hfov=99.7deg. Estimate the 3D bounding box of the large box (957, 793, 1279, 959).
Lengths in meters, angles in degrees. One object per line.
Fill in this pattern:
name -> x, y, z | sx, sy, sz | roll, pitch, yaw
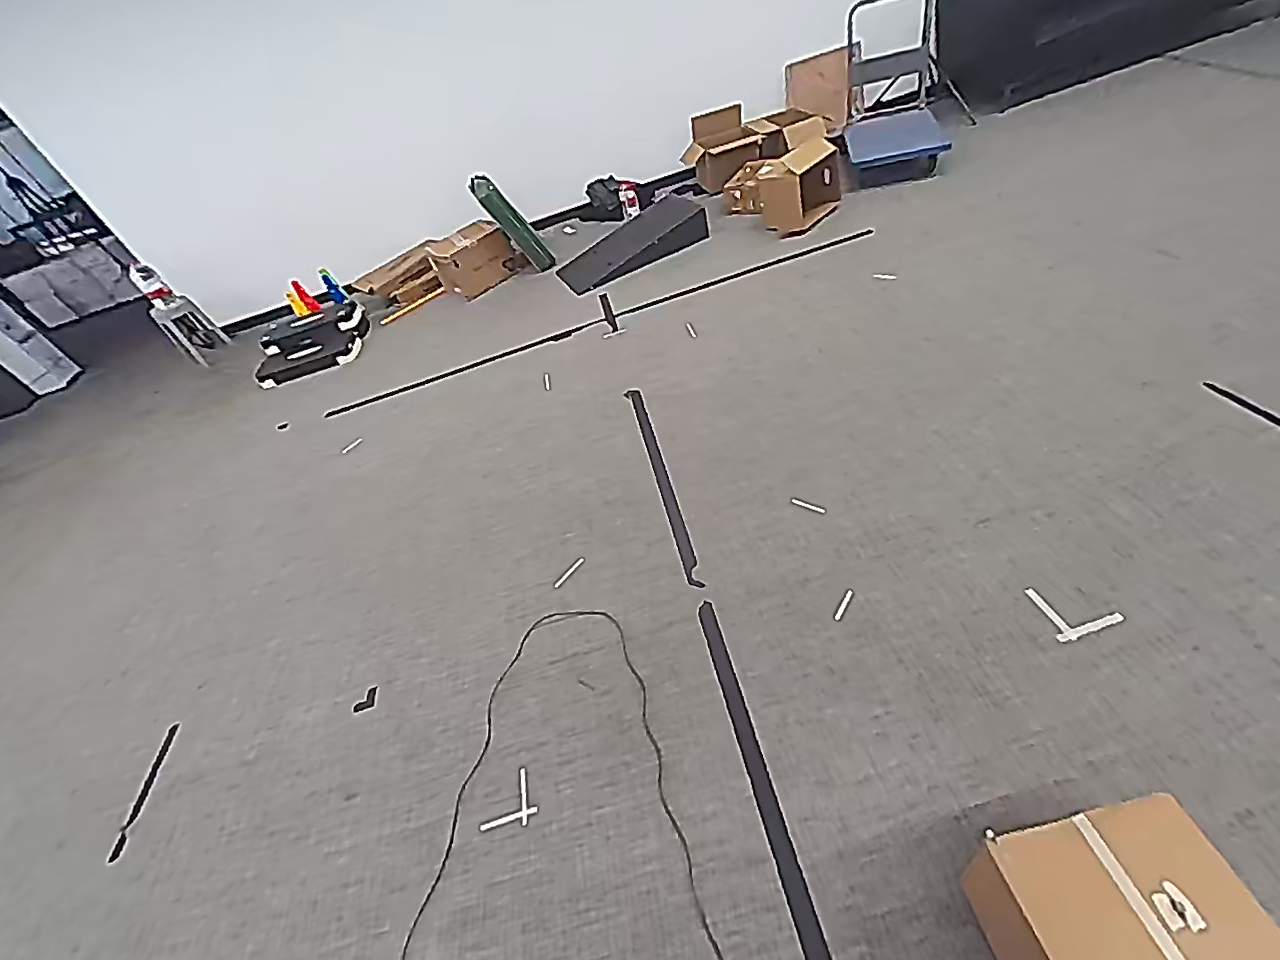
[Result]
large box -> 0.794, 0.805, 0.869 | 0.320, 0.320, 0.408 | -16, 42, 1
